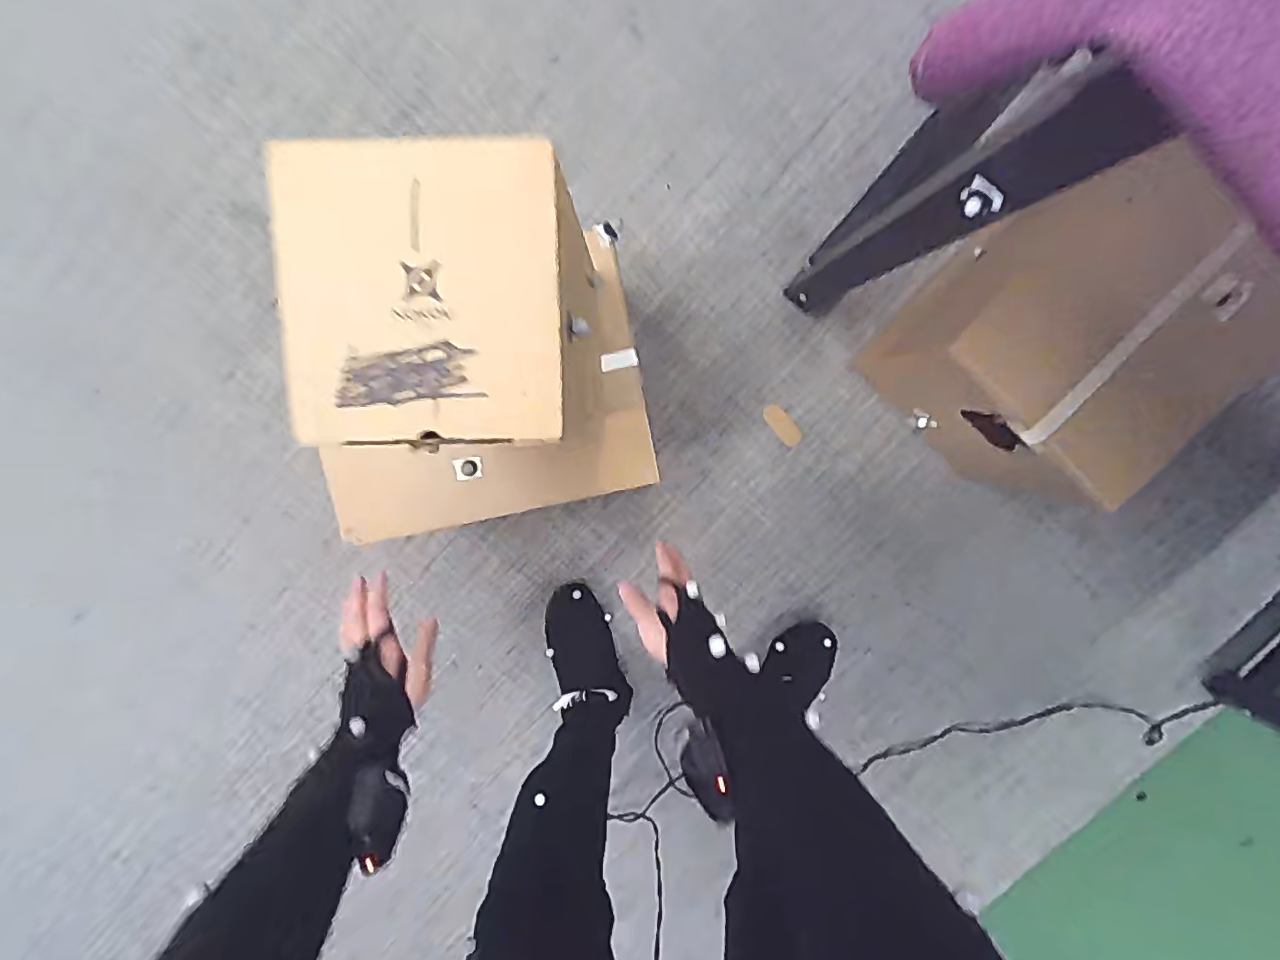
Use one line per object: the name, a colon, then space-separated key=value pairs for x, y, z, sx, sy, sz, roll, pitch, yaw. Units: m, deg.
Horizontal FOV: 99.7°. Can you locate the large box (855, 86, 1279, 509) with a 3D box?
large box: x=0.611 y=-0.224 z=0.795 sx=0.320 sy=0.320 sz=0.408 roll=41 pitch=95 yaw=-7

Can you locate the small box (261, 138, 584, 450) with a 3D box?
small box: x=-0.132 y=-0.115 z=0.395 sx=0.168 sy=0.176 sz=0.179 roll=-1 pitch=96 yaw=0
